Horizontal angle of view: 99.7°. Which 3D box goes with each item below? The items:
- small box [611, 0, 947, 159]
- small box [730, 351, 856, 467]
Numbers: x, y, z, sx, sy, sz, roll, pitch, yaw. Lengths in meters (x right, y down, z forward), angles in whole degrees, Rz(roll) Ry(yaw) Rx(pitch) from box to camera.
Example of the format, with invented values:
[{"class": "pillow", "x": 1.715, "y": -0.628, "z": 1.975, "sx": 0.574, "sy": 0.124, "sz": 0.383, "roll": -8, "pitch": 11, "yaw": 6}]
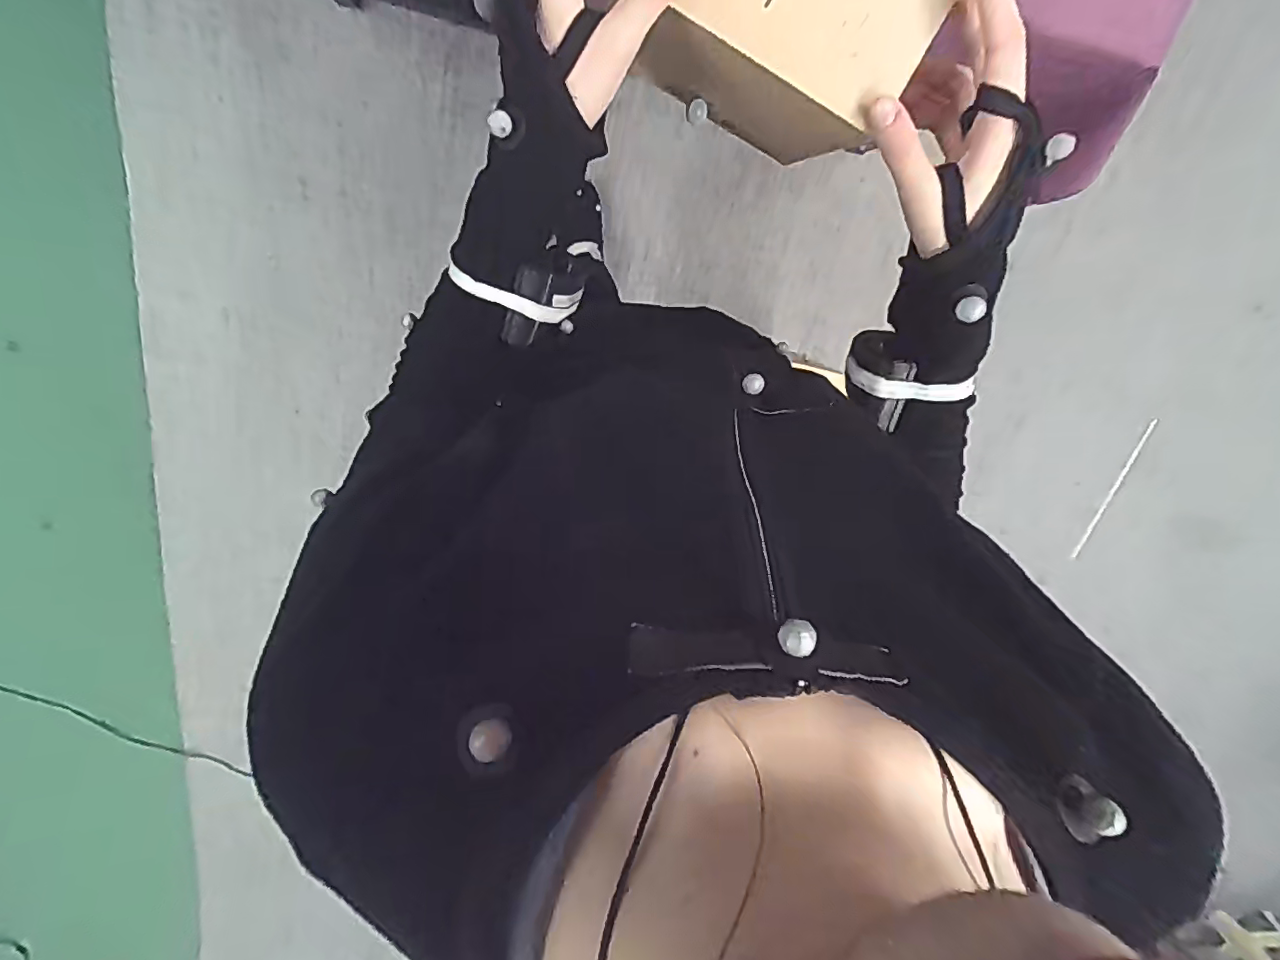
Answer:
[{"class": "small box", "x": 0.086, "y": -0.324, "z": 0.321, "sx": 0.168, "sy": 0.176, "sz": 0.179, "roll": 23, "pitch": 113, "yaw": -14}, {"class": "small box", "x": 0.291, "y": -0.148, "z": 1.076, "sx": 0.168, "sy": 0.176, "sz": 0.179, "roll": 12, "pitch": 110, "yaw": -9}]
